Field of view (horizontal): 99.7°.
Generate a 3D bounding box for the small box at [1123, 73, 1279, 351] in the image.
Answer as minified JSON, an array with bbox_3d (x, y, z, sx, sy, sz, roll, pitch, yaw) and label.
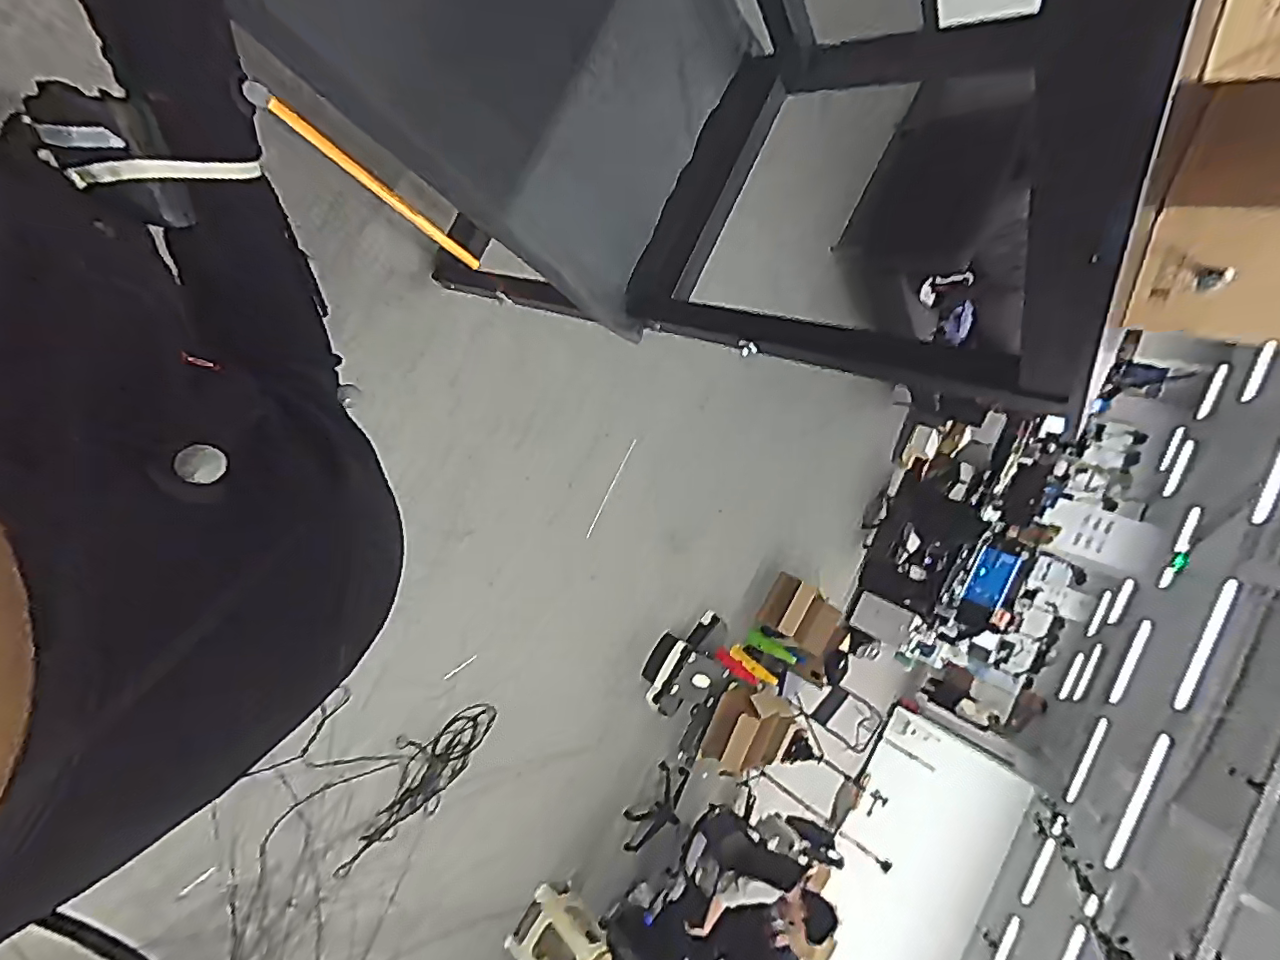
[{"bbox_3d":[0.566,-0.234,0.464,0.179,0.176,0.168,-59,142,-6],"label":"small box"}]
